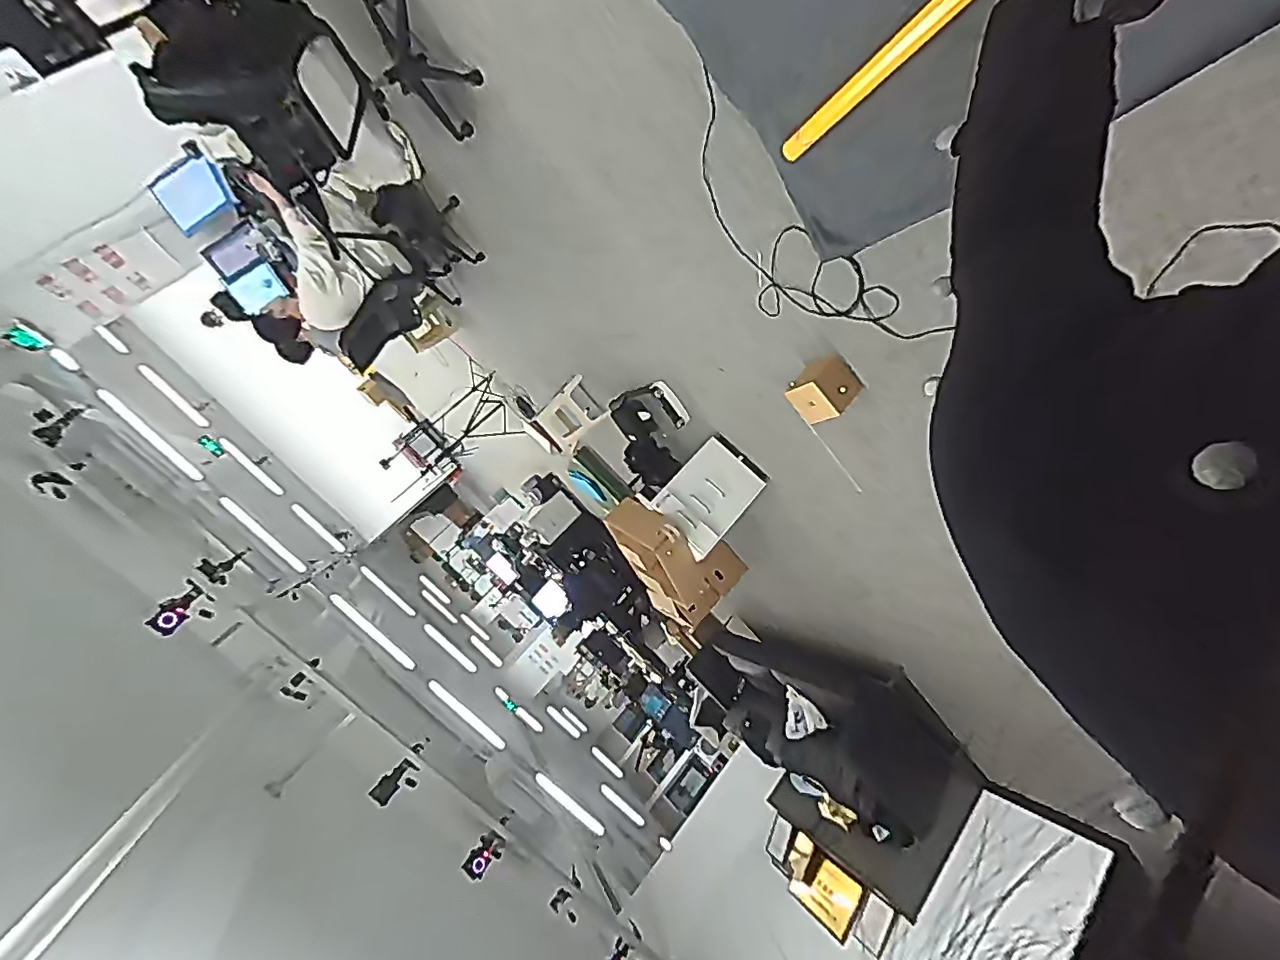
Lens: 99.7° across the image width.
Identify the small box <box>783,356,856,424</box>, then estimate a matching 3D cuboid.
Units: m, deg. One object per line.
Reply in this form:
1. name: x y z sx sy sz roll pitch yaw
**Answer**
1. small box: 0.684 -0.339 2.035 0.168 0.176 0.179 47 161 -10
